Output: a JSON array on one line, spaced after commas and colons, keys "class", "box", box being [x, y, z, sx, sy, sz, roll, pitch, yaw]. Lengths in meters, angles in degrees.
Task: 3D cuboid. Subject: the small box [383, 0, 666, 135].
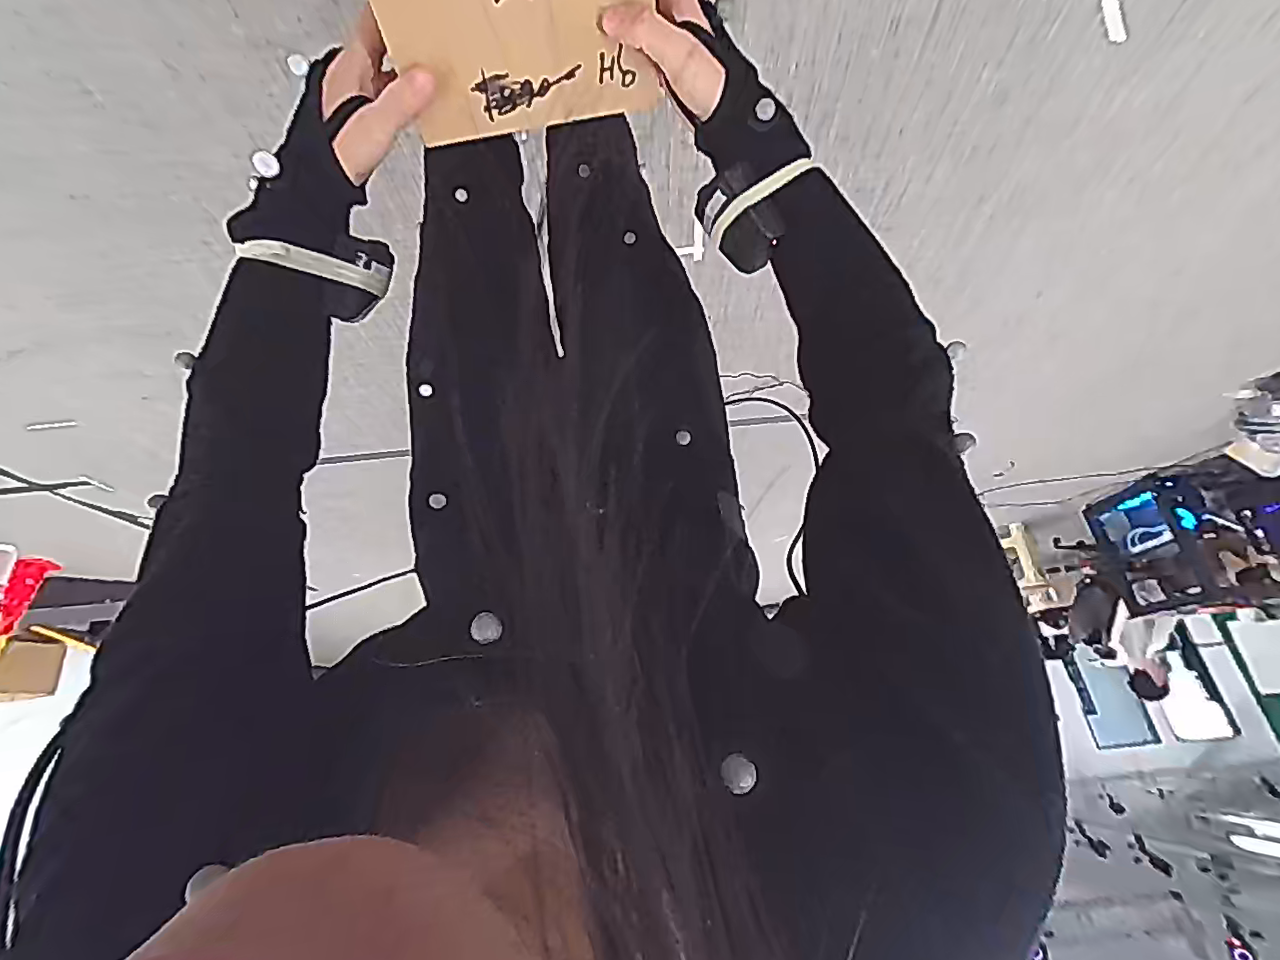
[{"class": "small box", "box": [-0.084, -0.361, 0.348, 0.168, 0.176, 0.179, -11, 143, -2]}]
